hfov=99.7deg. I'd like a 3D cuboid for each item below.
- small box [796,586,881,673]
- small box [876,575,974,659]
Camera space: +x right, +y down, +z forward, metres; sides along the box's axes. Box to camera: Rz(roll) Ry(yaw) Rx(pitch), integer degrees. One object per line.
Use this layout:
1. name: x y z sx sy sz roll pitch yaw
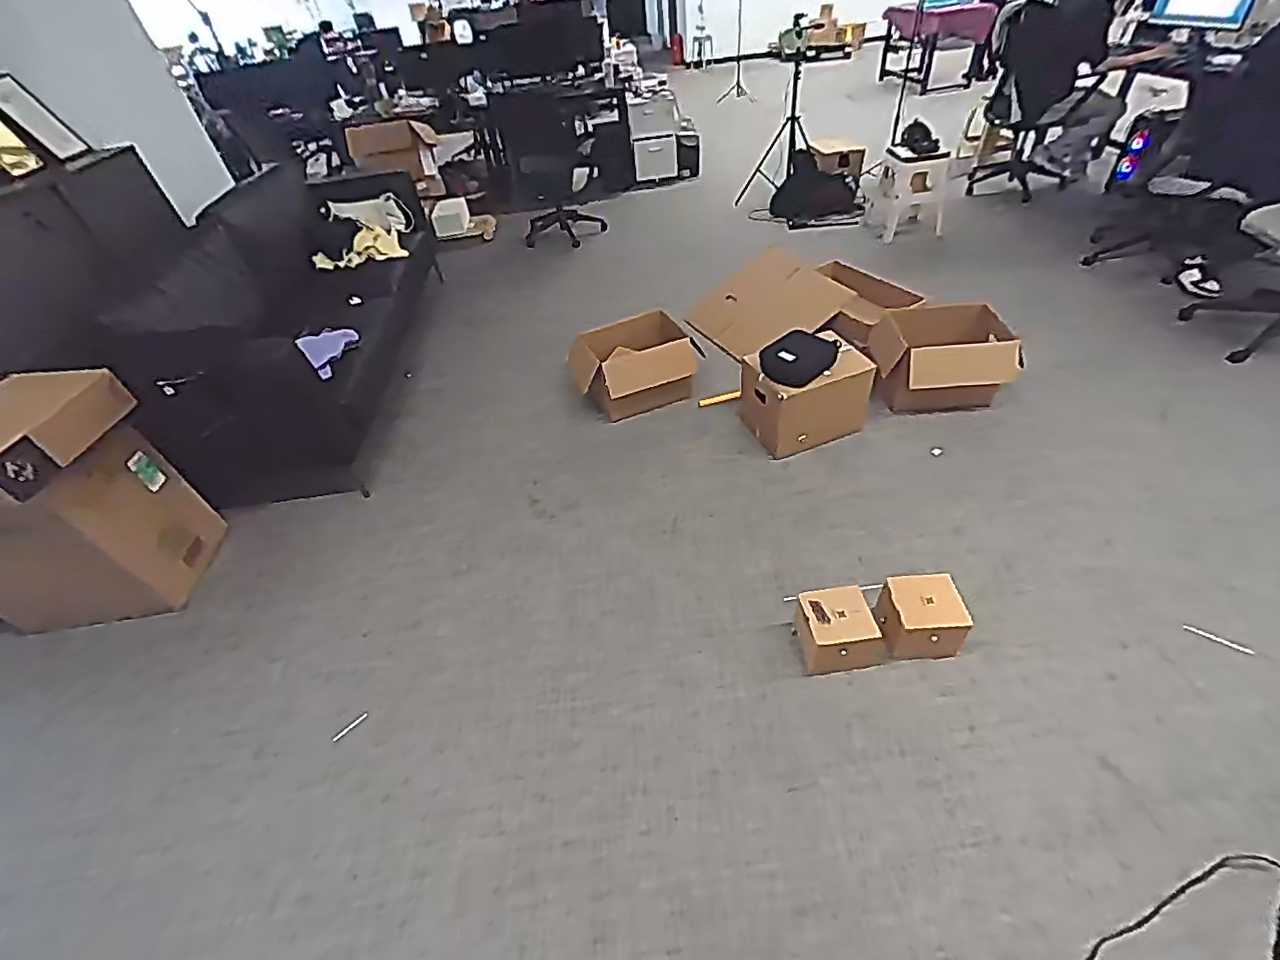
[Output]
1. small box: 0.544 0.421 1.512 0.179 0.176 0.168 -8 44 0
2. small box: 0.787 0.384 1.512 0.179 0.176 0.168 -6 44 5
